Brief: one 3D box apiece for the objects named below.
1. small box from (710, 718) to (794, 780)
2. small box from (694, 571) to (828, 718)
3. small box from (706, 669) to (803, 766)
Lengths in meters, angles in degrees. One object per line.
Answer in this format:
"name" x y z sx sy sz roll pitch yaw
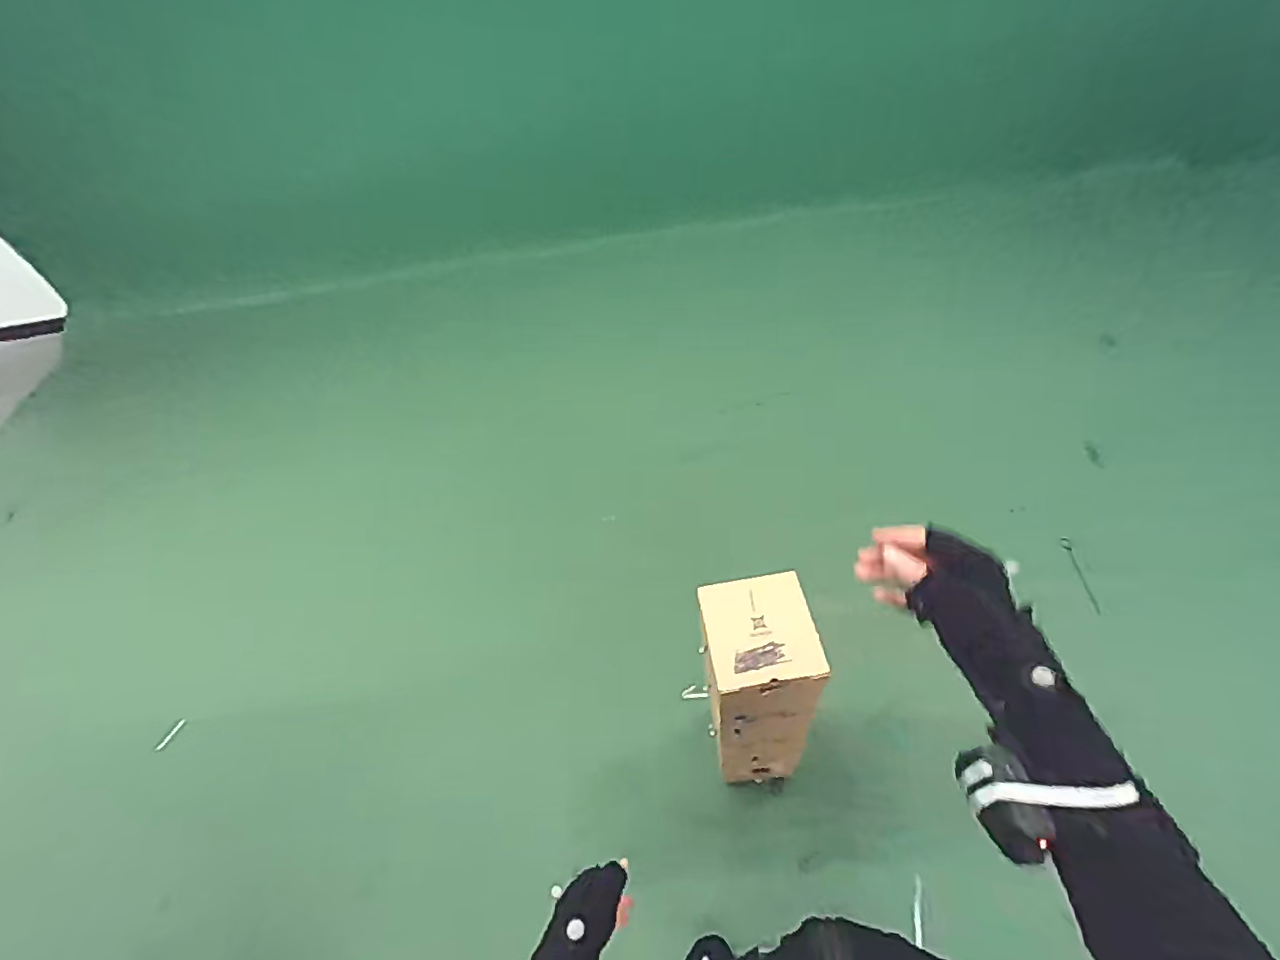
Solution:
"small box" 0.254 0.587 1.273 0.168 0.176 0.179 -8 51 3
"small box" 0.191 0.279 0.895 0.168 0.176 0.179 -12 52 -1
"small box" 0.233 0.485 1.148 0.168 0.176 0.179 -9 51 1
